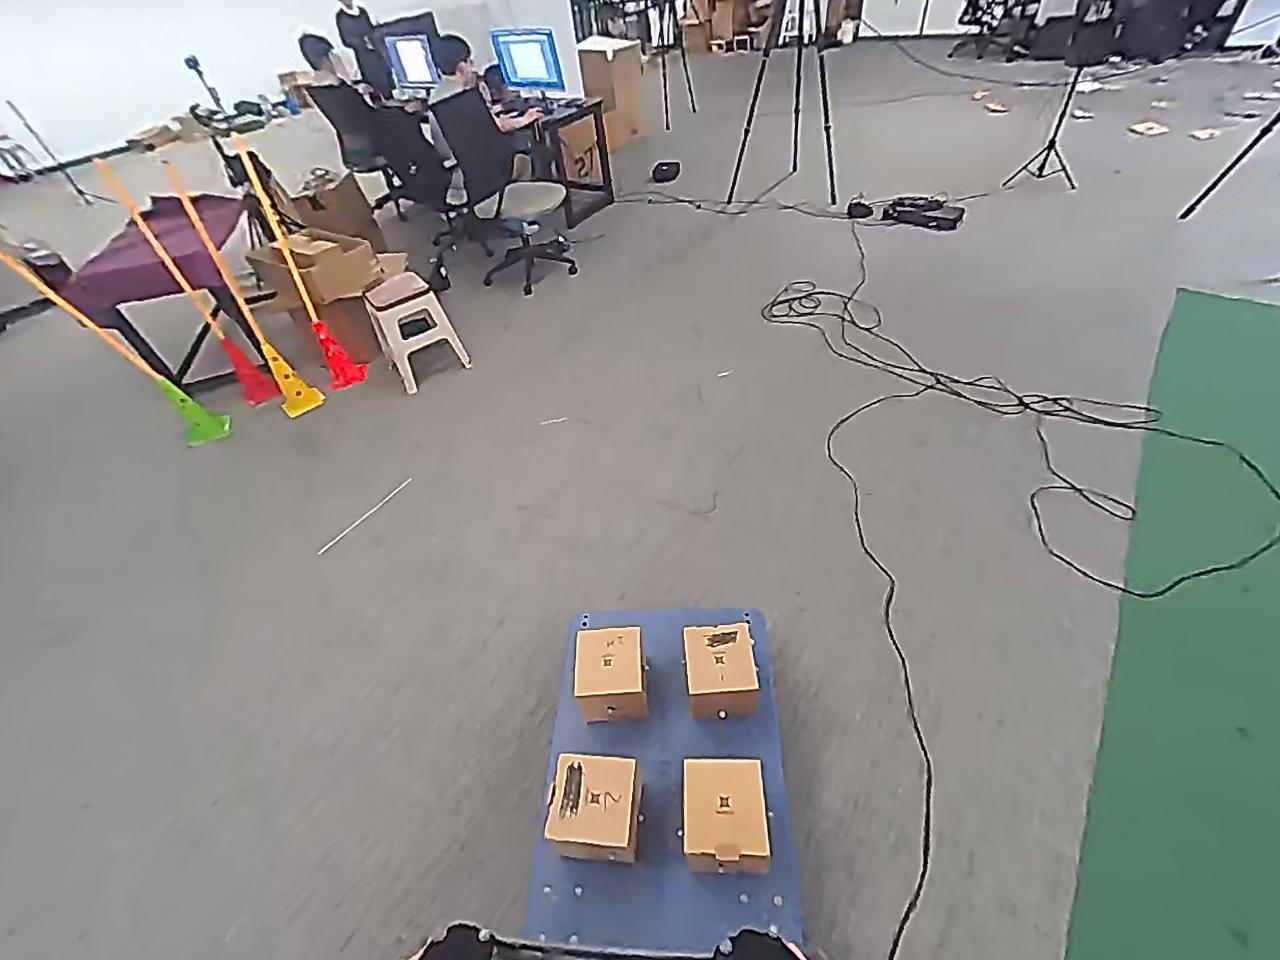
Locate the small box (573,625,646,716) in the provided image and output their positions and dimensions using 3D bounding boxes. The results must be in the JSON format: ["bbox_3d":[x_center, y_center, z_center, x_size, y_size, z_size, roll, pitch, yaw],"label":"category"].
[{"bbox_3d":[-0.073,0.499,1.402,0.168,0.176,0.179,-4,46,3],"label":"small box"}]

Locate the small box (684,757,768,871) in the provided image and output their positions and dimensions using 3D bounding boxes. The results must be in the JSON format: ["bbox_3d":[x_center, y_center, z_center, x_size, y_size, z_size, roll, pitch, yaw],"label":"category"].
[{"bbox_3d":[0.178,0.716,1.160,0.168,0.176,0.179,-2,47,6],"label":"small box"}]

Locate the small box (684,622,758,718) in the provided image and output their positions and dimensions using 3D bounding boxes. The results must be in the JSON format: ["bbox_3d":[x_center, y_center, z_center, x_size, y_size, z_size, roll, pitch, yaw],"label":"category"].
[{"bbox_3d":[0.201,0.485,1.378,0.168,0.176,0.179,-5,47,4],"label":"small box"}]
